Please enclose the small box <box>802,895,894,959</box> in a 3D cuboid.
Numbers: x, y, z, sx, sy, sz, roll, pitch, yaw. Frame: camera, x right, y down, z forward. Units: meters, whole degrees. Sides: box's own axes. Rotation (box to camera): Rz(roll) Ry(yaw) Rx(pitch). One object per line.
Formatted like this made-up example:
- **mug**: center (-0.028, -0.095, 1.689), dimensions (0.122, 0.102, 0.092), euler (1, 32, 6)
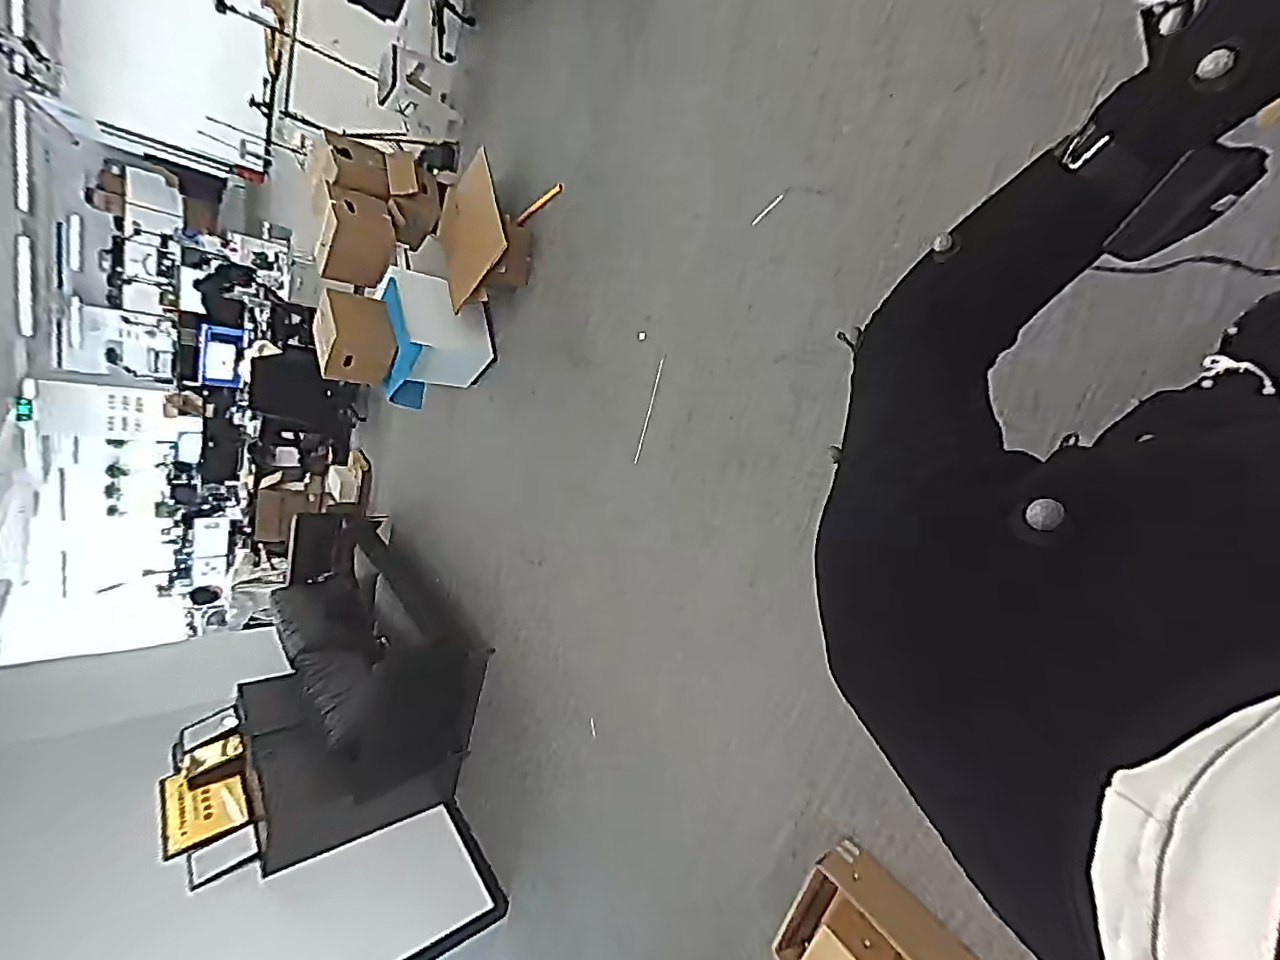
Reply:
- **small box**: center (0.610, 1.370, 1.572), dimensions (0.168, 0.176, 0.179), euler (34, 113, 42)
